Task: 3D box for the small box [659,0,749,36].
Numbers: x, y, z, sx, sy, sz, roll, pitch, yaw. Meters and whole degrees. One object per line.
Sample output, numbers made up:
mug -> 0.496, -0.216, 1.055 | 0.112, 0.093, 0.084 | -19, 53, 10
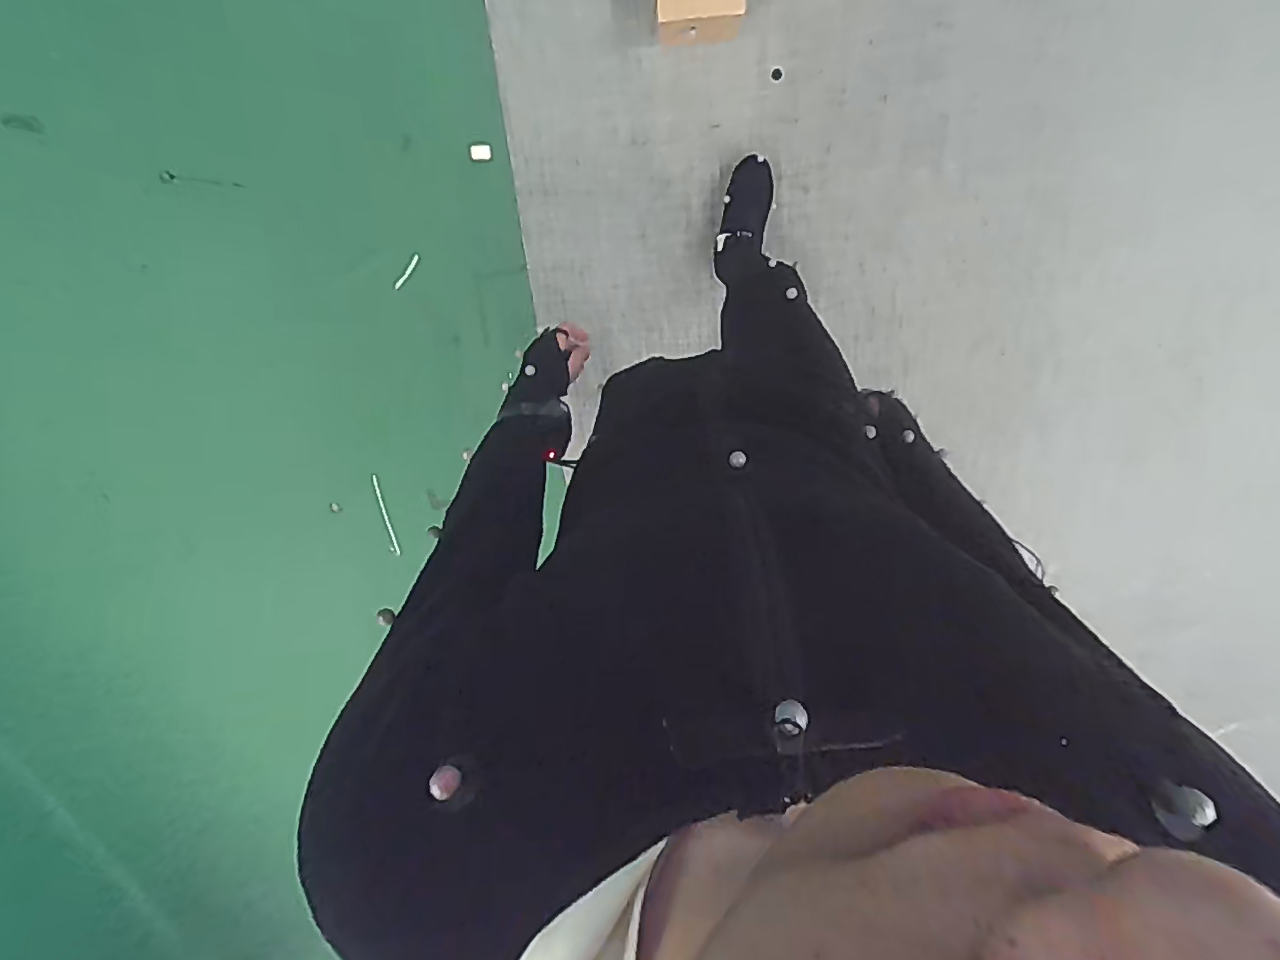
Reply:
small box -> 0.131, -1.015, 1.077 | 0.179, 0.176, 0.168 | 1, 116, 7
